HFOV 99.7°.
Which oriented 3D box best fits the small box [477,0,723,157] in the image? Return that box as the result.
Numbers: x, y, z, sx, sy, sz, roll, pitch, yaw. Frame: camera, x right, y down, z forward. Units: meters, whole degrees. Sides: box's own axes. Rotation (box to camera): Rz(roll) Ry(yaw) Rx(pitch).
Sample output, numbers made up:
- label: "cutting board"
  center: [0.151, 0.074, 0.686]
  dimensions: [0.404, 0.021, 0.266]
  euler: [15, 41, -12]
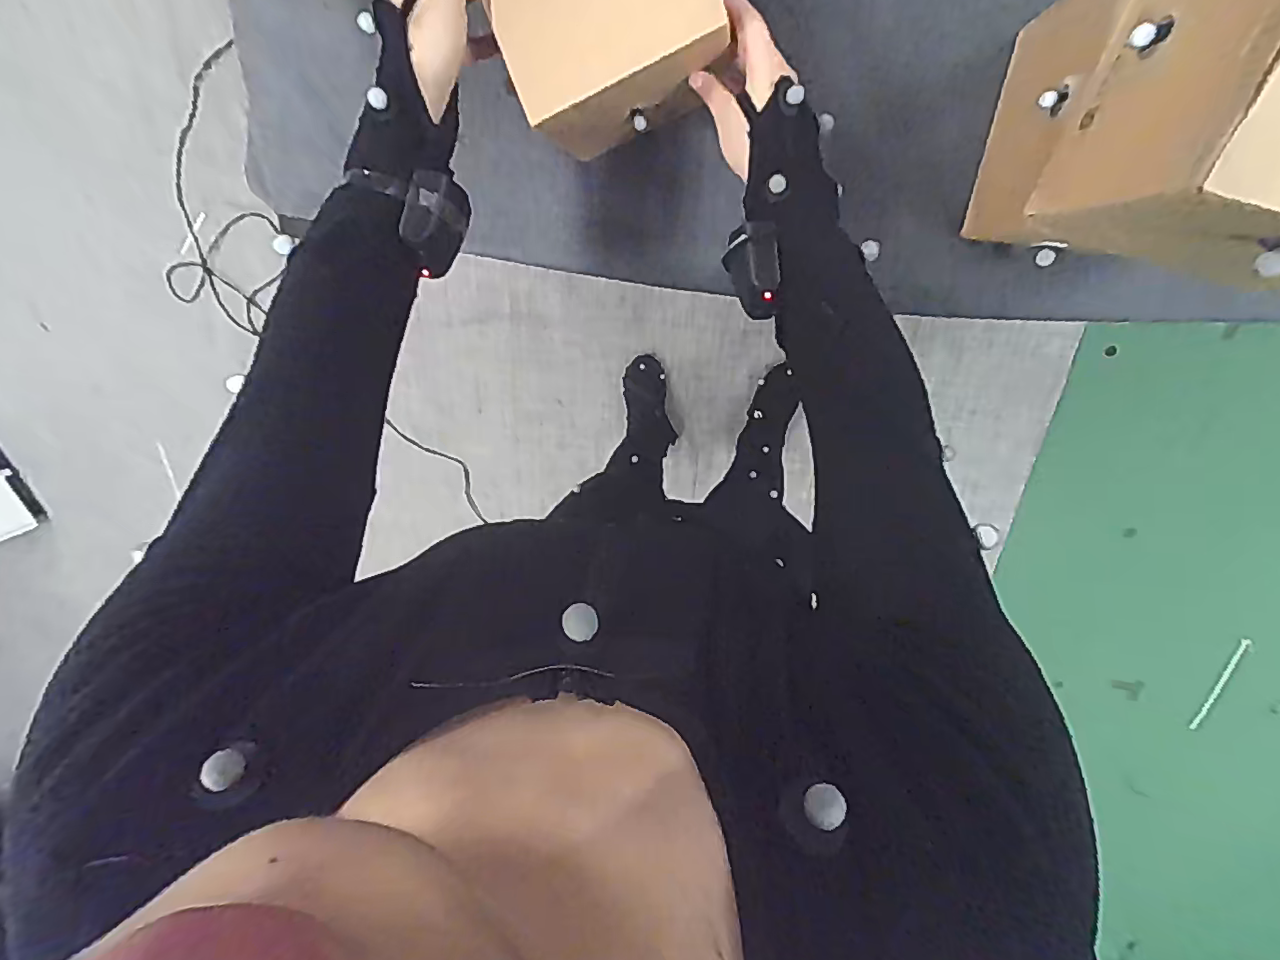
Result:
- label: "small box"
  center: [-0.030, -0.402, 0.461]
  dimensions: [0.168, 0.176, 0.179]
  euler: [-17, 108, 15]

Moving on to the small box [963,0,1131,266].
- label: "small box"
  center: [0.398, -0.276, 0.442]
  dimensions: [0.168, 0.176, 0.179]
  euler: [8, 113, 7]

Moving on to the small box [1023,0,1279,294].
- label: "small box"
  center: [0.372, -0.205, 0.298]
  dimensions: [0.179, 0.176, 0.168]
  euler: [19, 113, 3]
